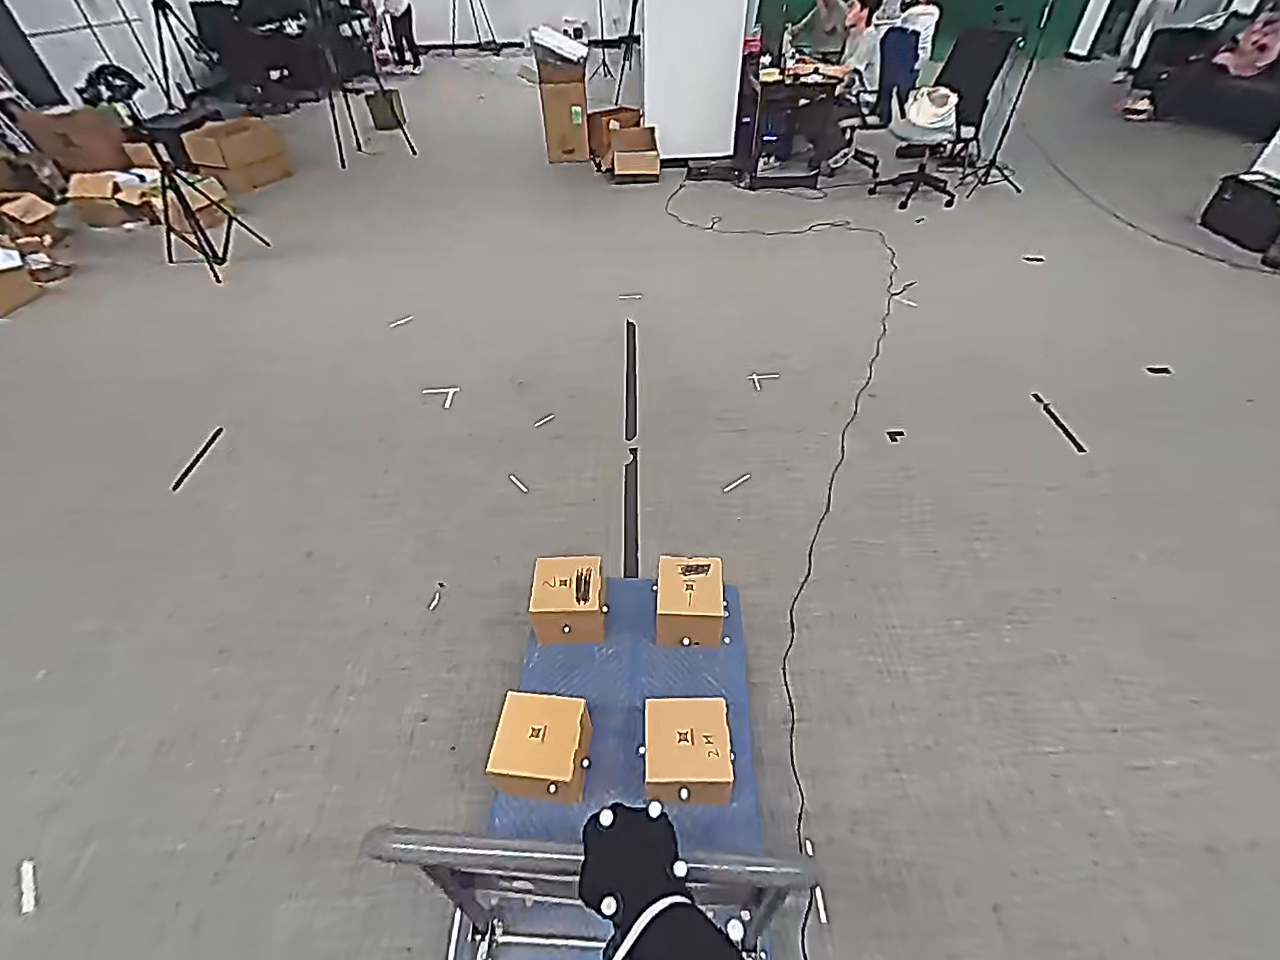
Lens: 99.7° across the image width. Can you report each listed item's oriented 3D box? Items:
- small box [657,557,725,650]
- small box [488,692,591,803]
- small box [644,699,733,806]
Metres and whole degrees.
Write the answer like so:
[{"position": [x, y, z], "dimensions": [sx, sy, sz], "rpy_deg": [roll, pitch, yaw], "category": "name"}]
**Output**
[{"position": [0.133, 0.324, 1.428], "dimensions": [0.168, 0.176, 0.179], "rpy_deg": [2, 46, 4], "category": "small box"}, {"position": [-0.209, 0.585, 1.179], "dimensions": [0.179, 0.176, 0.168], "rpy_deg": [4, 45, 4], "category": "small box"}, {"position": [0.101, 0.588, 1.164], "dimensions": [0.179, 0.176, 0.168], "rpy_deg": [-1, 45, 2], "category": "small box"}]
